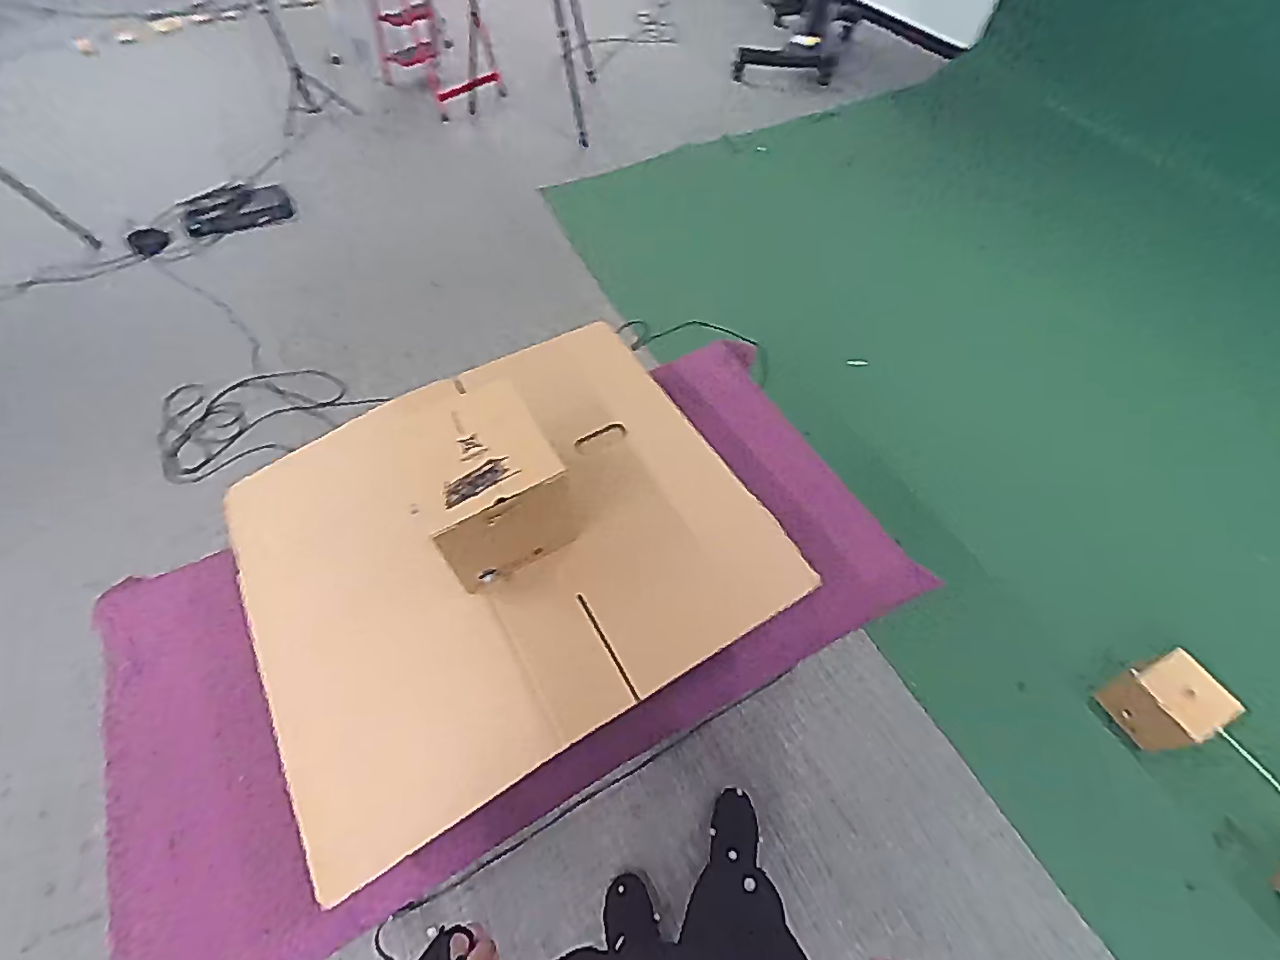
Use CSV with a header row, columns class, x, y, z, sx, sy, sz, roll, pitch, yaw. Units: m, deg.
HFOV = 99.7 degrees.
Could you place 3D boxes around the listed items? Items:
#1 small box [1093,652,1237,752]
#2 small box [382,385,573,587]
class,x,y,z,sx,sy,sz,roll,pitch,yaw
small box,1.346,0.578,1.402,0.179,0.176,0.168,-24,60,-14
small box,-0.198,0.016,0.697,0.168,0.176,0.179,-27,61,-18
